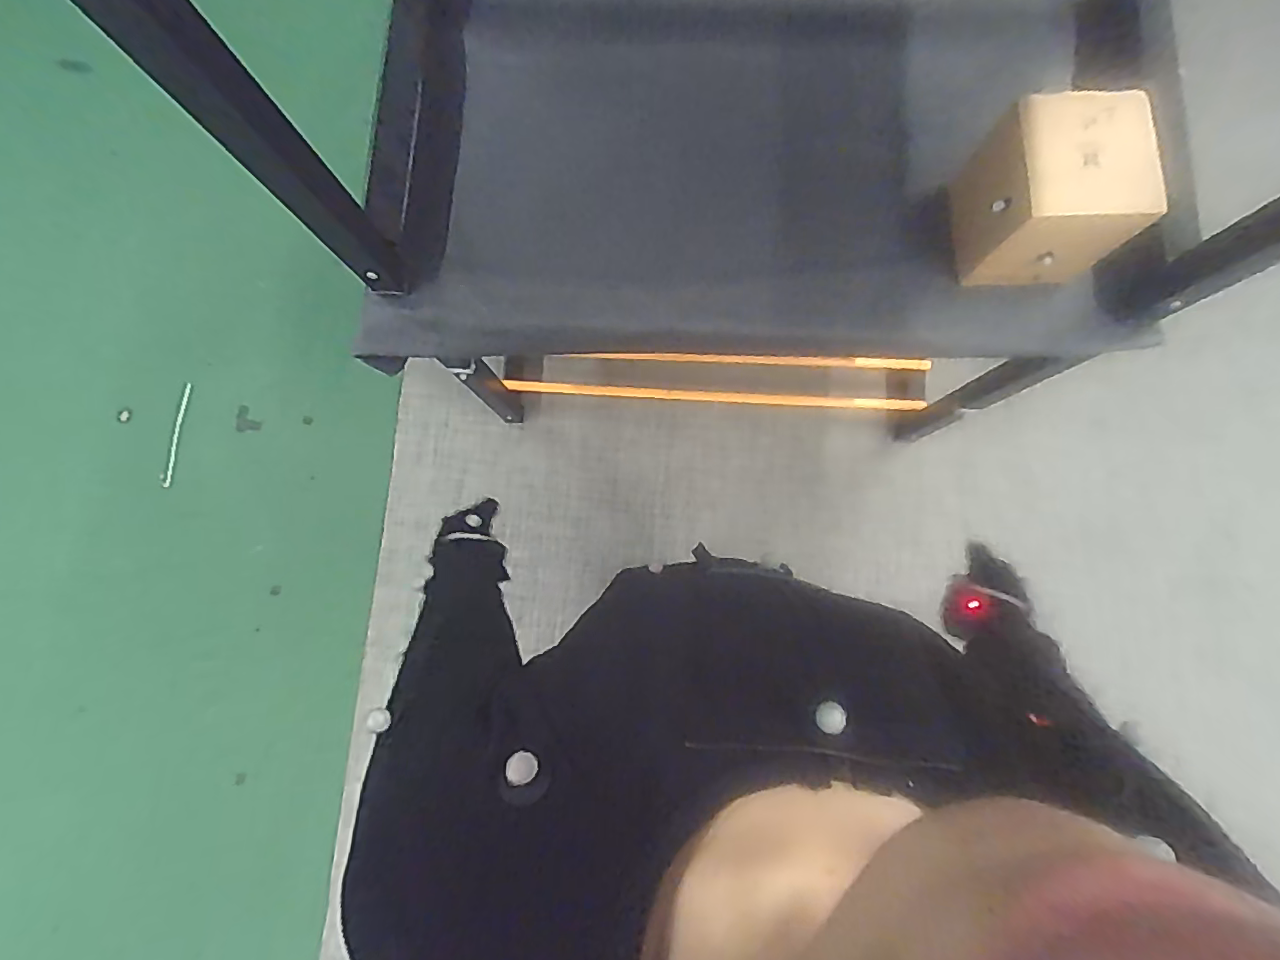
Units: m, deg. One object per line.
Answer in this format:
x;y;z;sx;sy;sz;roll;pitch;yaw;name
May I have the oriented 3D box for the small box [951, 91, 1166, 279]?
0.568;-0.399;0.760;0.168;0.176;0.179;-1;80;1;small box
